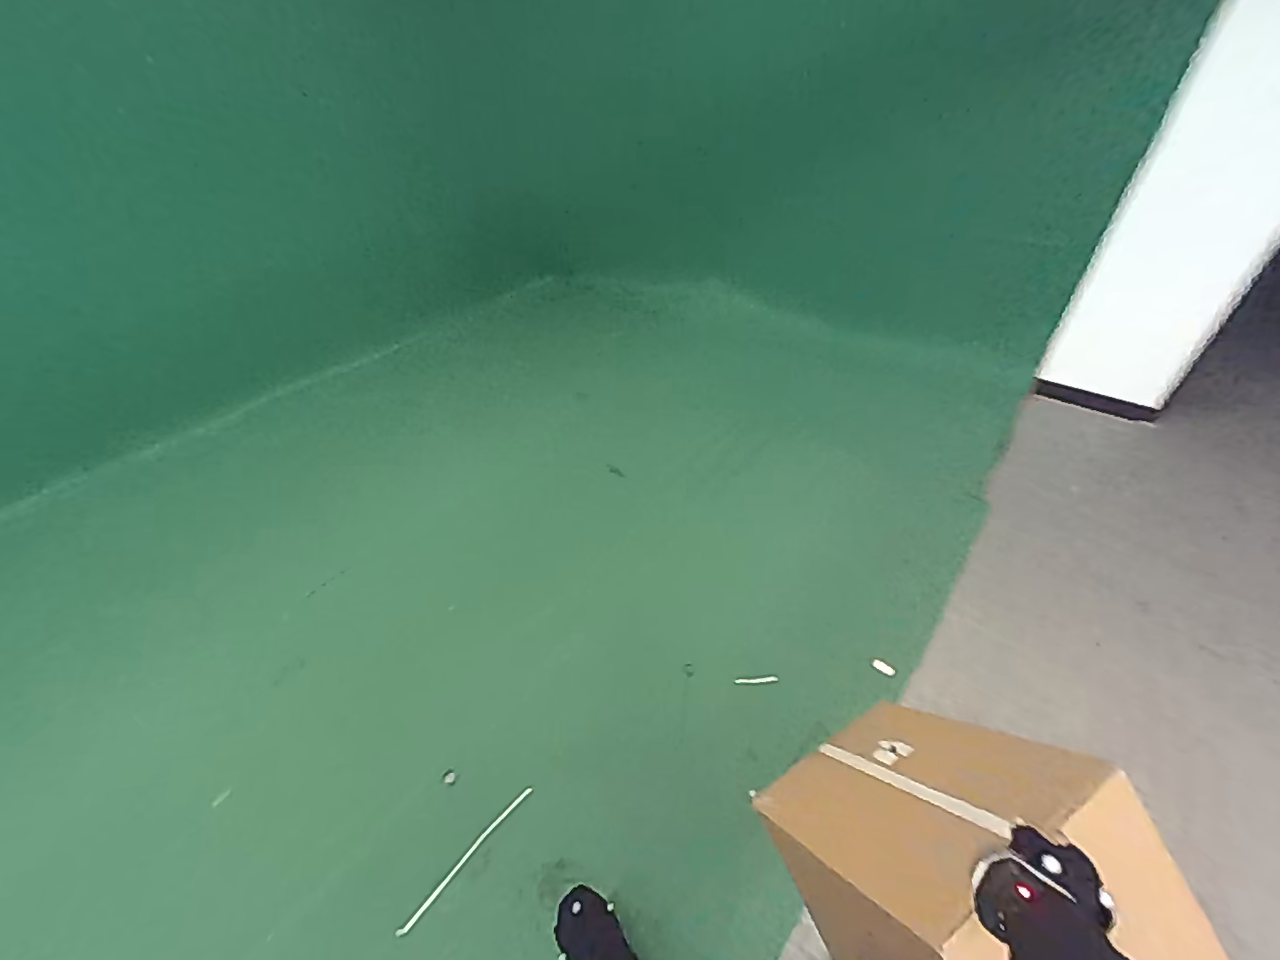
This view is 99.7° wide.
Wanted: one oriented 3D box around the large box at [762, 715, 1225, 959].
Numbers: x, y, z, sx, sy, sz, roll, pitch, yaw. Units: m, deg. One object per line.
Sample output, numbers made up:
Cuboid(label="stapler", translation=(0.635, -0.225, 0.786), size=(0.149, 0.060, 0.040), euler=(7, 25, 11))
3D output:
Cuboid(label="large box", translation=(0.449, 0.580, 0.749), size=(0.320, 0.408, 0.320), euler=(-25, 83, -18))
